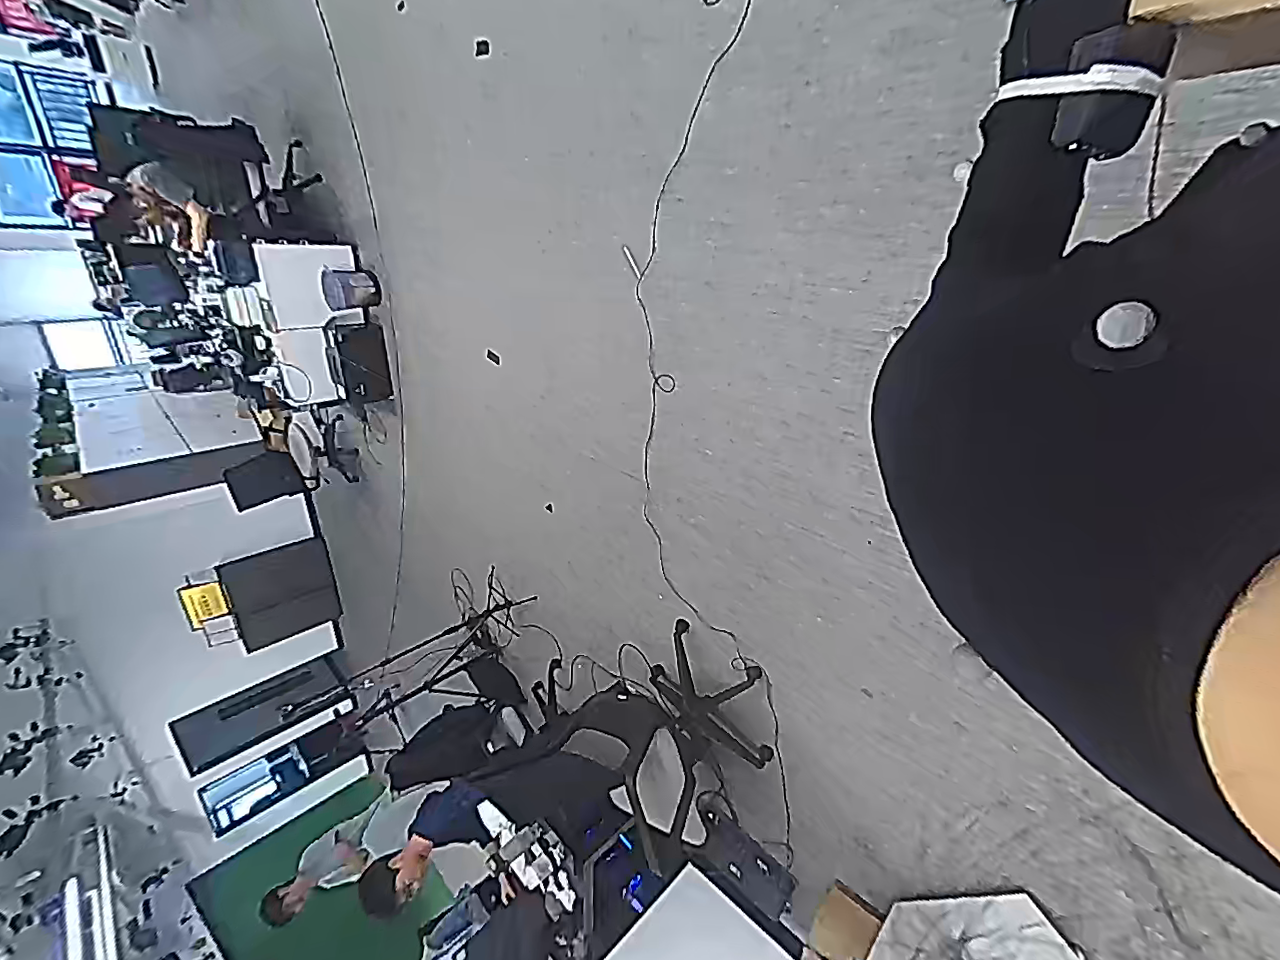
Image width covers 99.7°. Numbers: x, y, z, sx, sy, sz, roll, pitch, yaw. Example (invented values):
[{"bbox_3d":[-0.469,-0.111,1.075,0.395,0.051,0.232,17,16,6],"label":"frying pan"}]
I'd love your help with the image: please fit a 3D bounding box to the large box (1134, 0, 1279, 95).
[{"bbox_3d":[0.551,-0.422,0.258,0.408,0.320,0.320,18,125,40],"label":"large box"}]
